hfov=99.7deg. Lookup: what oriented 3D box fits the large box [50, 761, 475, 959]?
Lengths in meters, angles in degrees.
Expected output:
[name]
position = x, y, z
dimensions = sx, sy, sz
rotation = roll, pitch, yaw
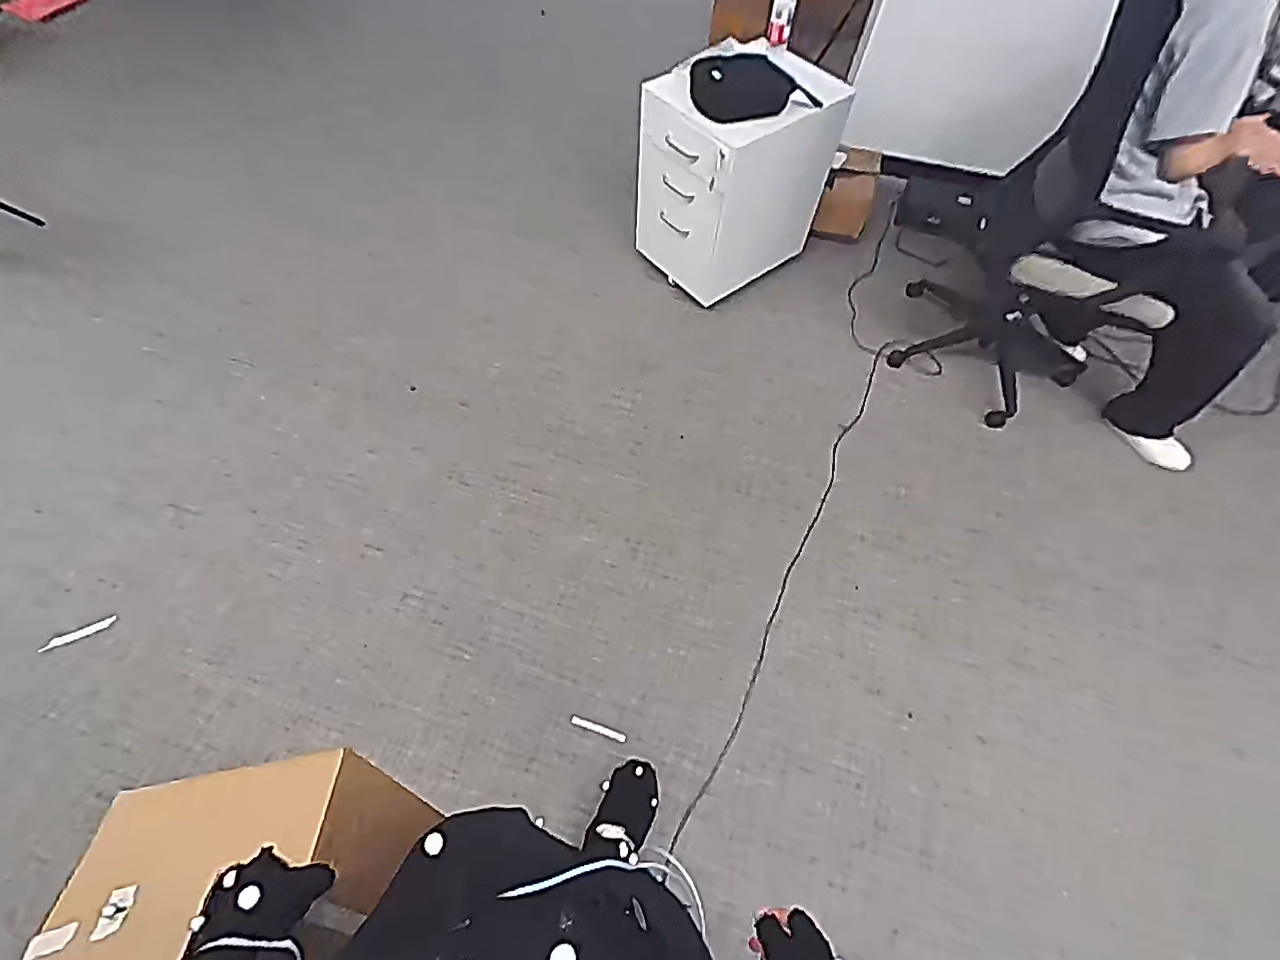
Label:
[large box]
position = -0.451, 0.614, 0.695
dimensions = 0.320, 0.408, 0.320
rotation = -11, 43, 3
